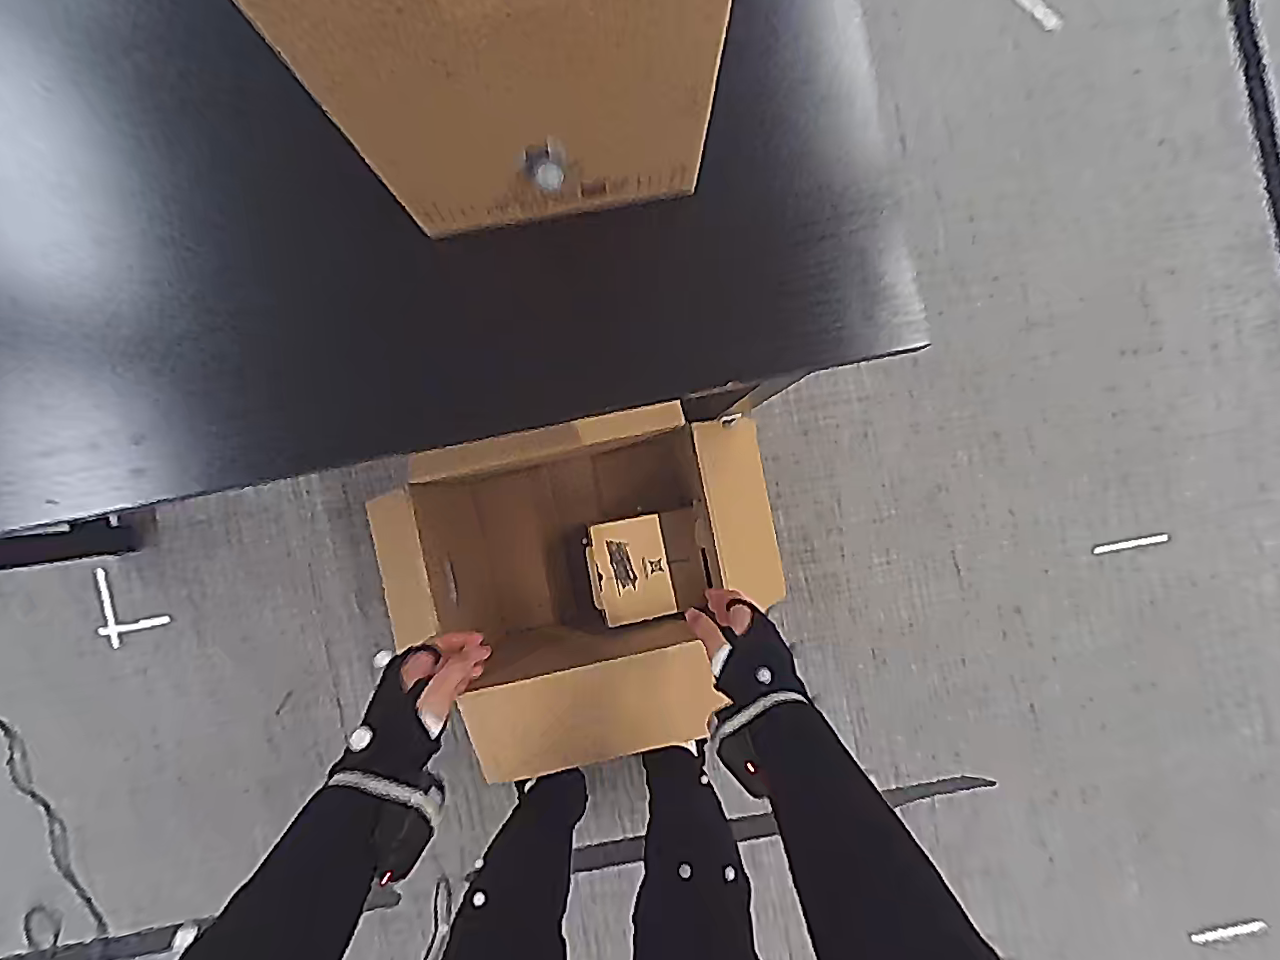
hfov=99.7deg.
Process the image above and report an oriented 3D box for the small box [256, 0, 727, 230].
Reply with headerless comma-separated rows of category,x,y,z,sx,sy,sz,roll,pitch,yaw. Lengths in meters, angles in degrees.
small box,-0.062,-0.245,0.240,0.168,0.176,0.179,-10,89,0
